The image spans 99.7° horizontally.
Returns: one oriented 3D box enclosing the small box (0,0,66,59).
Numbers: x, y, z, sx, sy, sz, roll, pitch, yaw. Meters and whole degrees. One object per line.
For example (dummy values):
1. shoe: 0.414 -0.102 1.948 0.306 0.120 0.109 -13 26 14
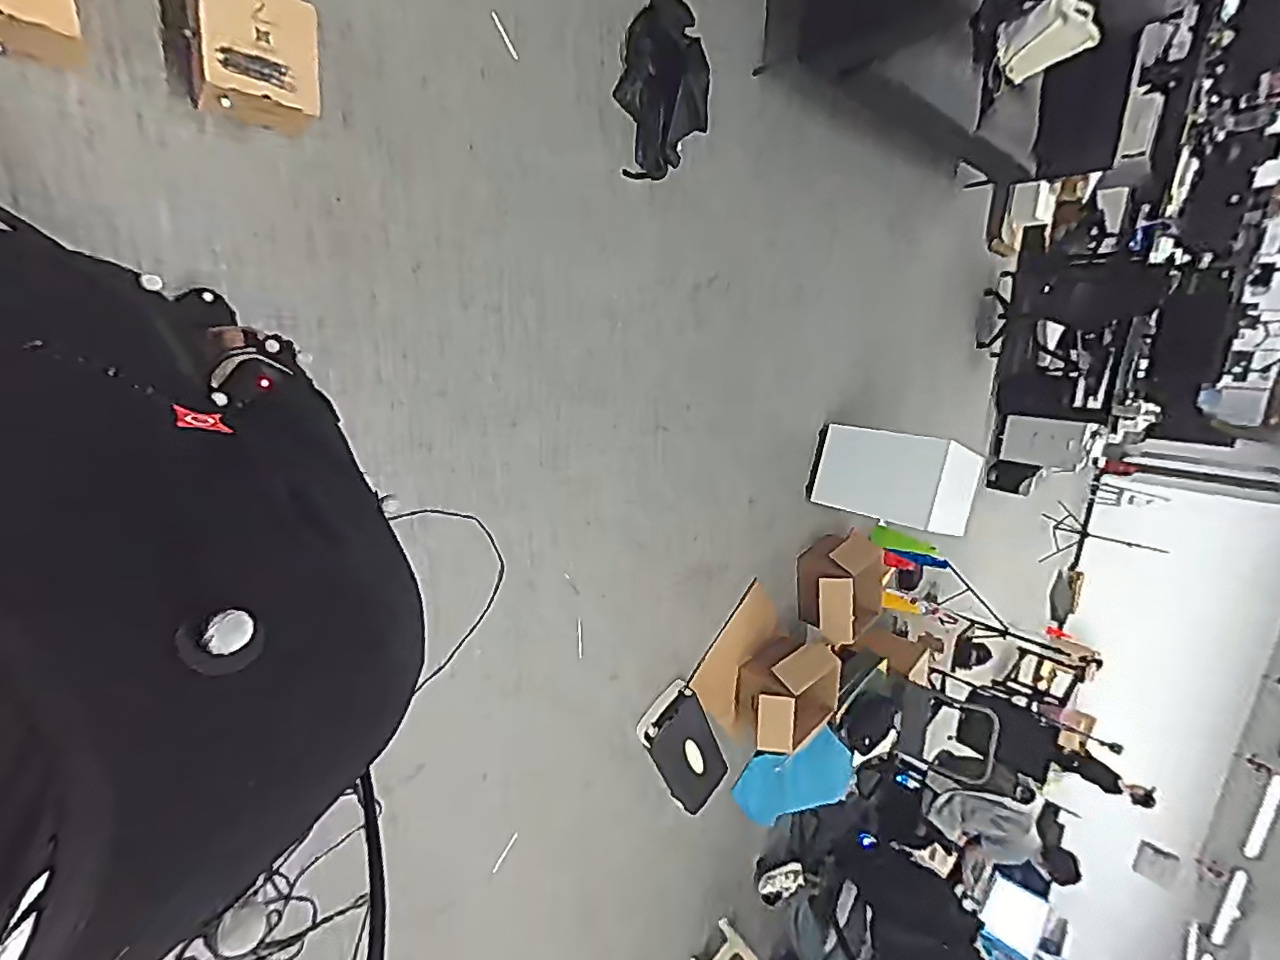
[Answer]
1. small box: -0.906 -0.715 0.723 0.168 0.176 0.179 -13 112 -43
